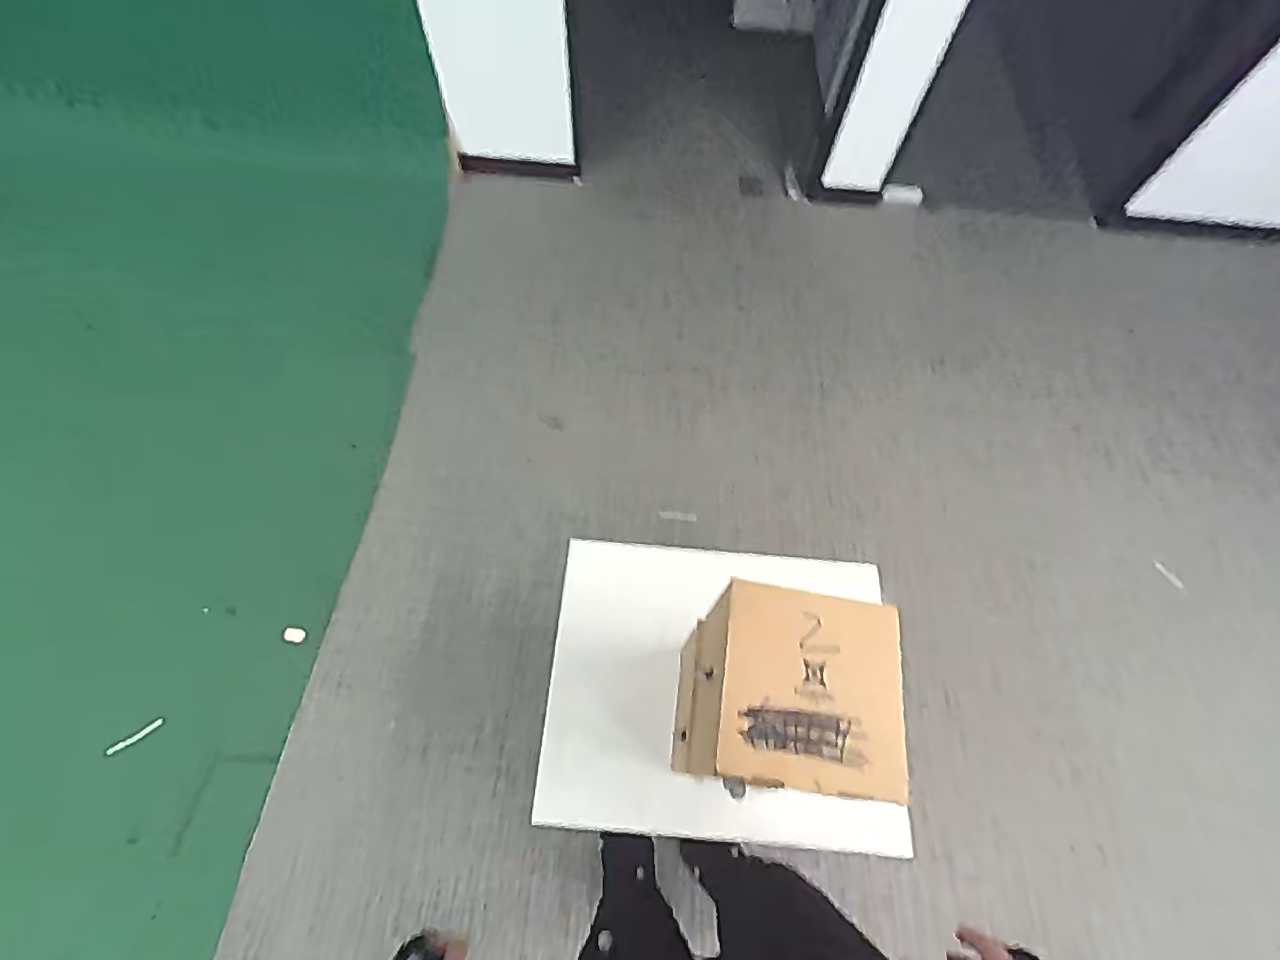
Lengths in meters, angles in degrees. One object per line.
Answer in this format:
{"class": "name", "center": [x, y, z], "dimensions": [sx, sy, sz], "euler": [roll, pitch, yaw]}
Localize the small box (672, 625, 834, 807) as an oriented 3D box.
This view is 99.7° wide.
{"class": "small box", "center": [0.136, 0.303, 0.692], "dimensions": [0.168, 0.176, 0.179], "euler": [8, 62, 2]}
